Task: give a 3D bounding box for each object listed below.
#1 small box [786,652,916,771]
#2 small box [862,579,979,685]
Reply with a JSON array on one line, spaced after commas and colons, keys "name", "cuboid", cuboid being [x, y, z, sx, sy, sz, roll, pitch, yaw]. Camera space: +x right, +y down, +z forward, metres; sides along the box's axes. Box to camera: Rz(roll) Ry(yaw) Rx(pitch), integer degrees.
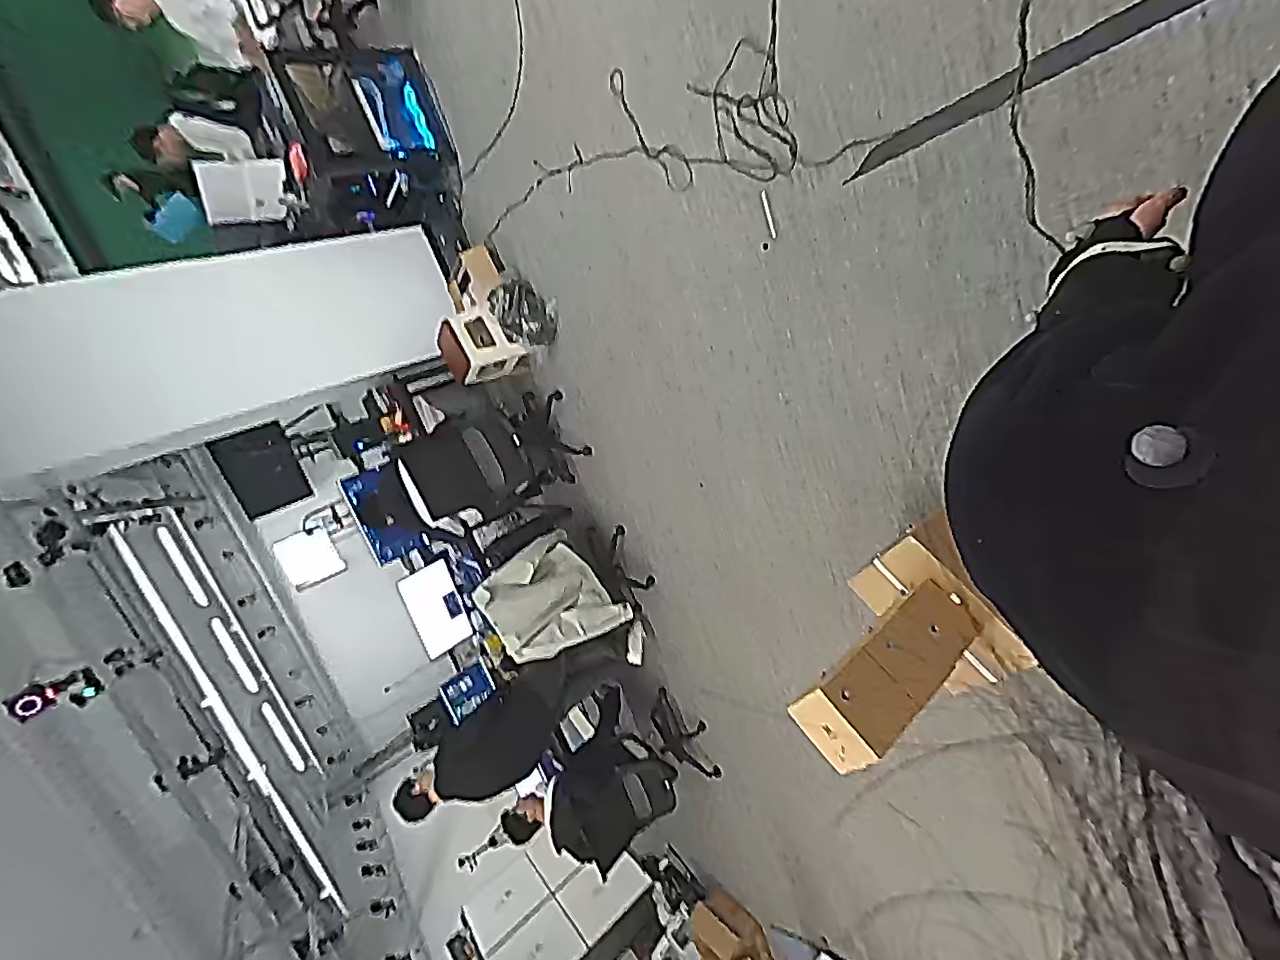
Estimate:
[{"name": "small box", "cuboid": [0.475, 0.516, 1.224, 0.179, 0.176, 0.168, 49, 147, 22]}, {"name": "small box", "cuboid": [0.726, 0.389, 1.396, 0.179, 0.176, 0.168, 50, 146, 23]}]
